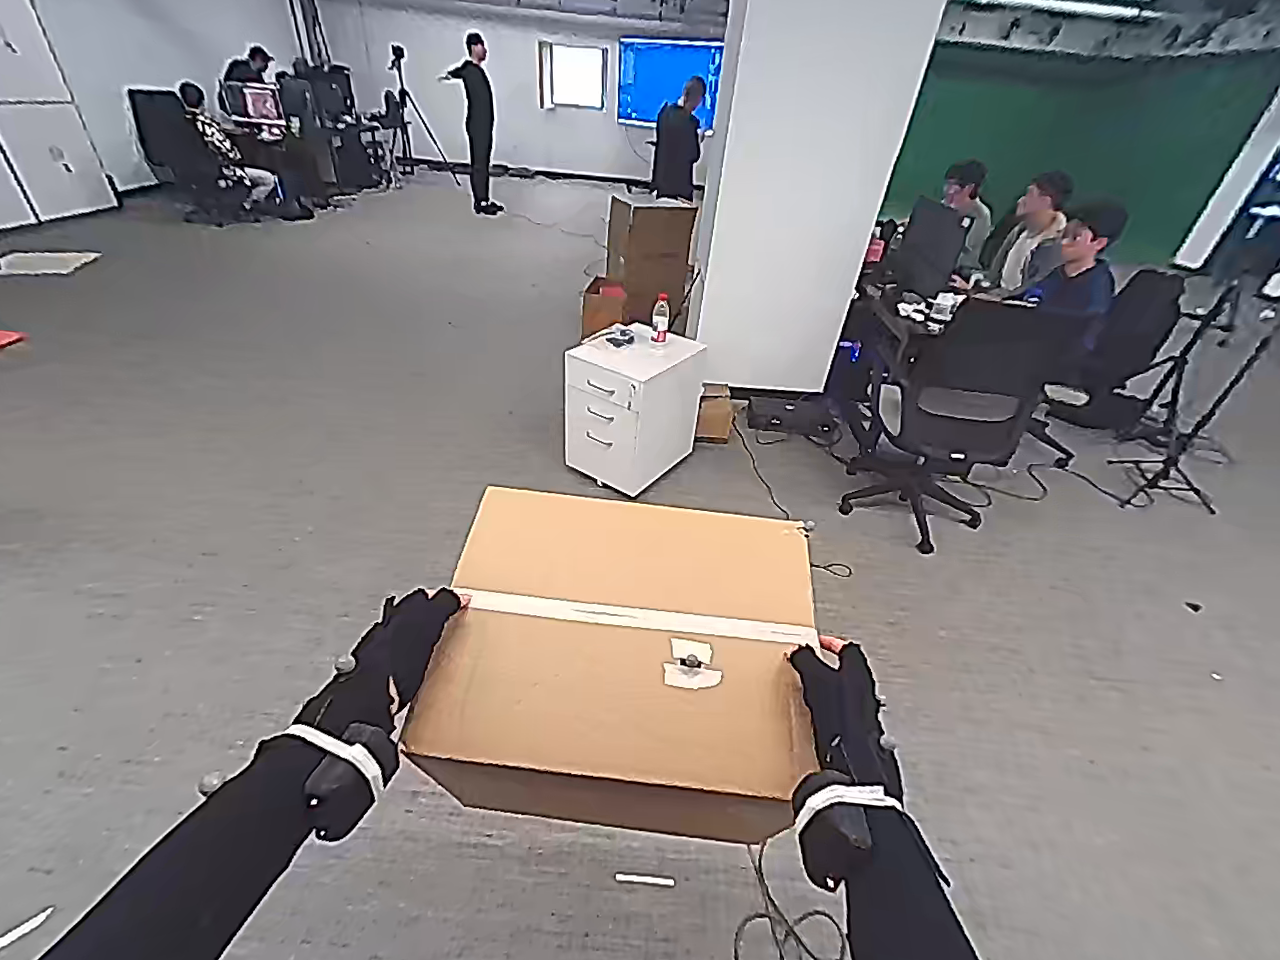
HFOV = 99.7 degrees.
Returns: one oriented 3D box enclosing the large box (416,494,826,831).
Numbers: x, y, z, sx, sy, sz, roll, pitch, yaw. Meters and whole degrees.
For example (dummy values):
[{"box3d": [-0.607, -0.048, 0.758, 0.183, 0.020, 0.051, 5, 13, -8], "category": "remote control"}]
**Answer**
[{"box3d": [-0.018, 0.249, 0.721, 0.408, 0.320, 0.320, 7, 51, 1], "category": "large box"}]
